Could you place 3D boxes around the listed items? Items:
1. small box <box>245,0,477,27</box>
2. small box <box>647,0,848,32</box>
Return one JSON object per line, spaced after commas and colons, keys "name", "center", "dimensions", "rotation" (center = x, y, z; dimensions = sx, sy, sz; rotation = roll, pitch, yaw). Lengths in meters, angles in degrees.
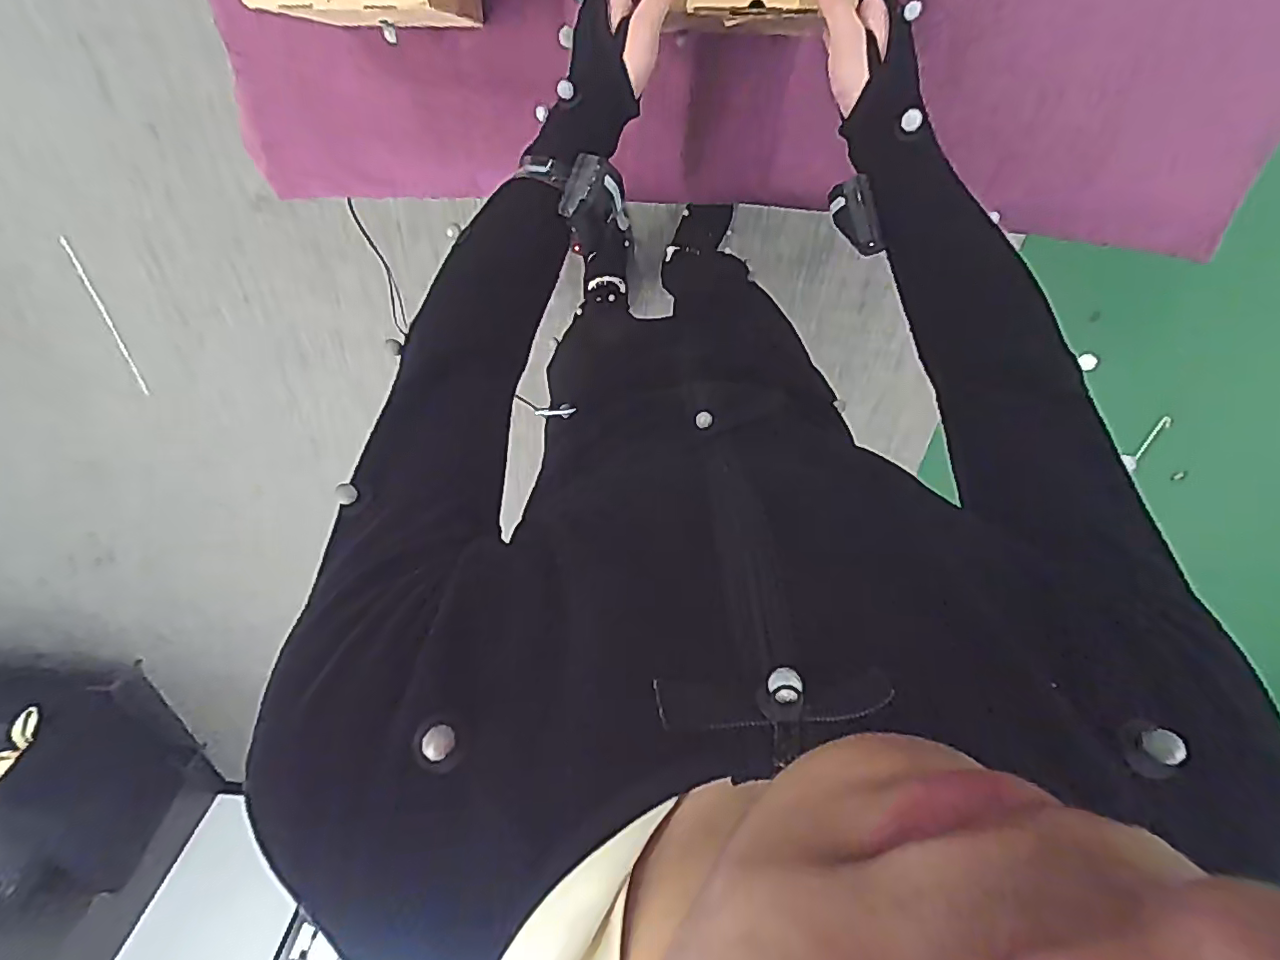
{"name": "small box", "center": [-0.258, -0.524, 0.477], "dimensions": [0.168, 0.176, 0.179], "rotation": [2, 126, 2]}
{"name": "small box", "center": [0.091, -0.499, 0.456], "dimensions": [0.168, 0.176, 0.179], "rotation": [1, 124, -1]}
